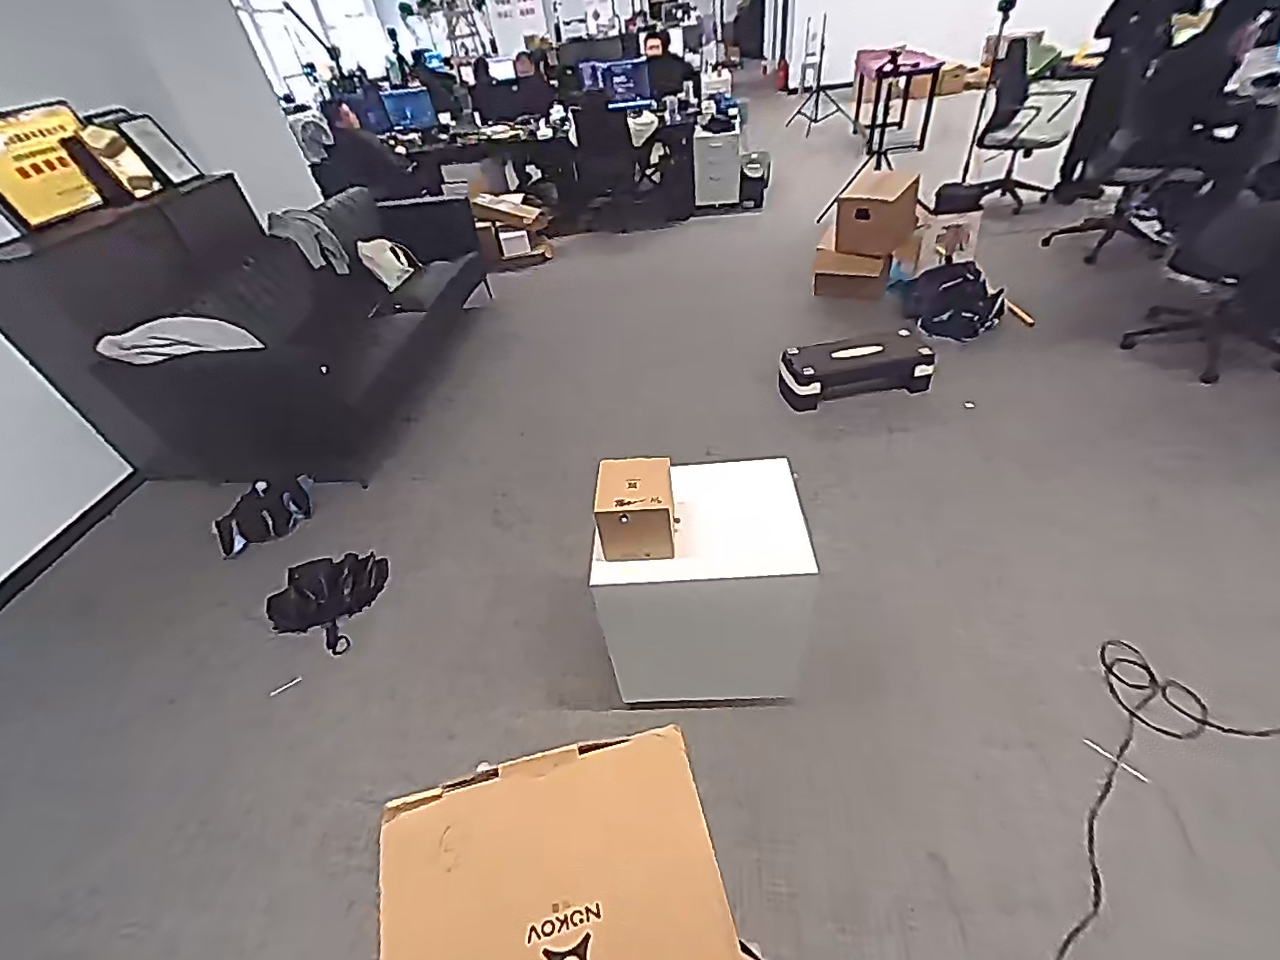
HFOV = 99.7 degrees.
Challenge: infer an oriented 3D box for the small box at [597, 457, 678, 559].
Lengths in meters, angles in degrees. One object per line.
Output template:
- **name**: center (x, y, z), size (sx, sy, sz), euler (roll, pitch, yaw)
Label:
- **small box**: center (-0.001, 0.065, 1.267), size (0.168, 0.176, 0.179), euler (-3, 41, 7)

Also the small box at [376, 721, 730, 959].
- **small box**: center (-0.051, 0.269, 0.326), size (0.168, 0.176, 0.179), euler (-8, 59, -14)
